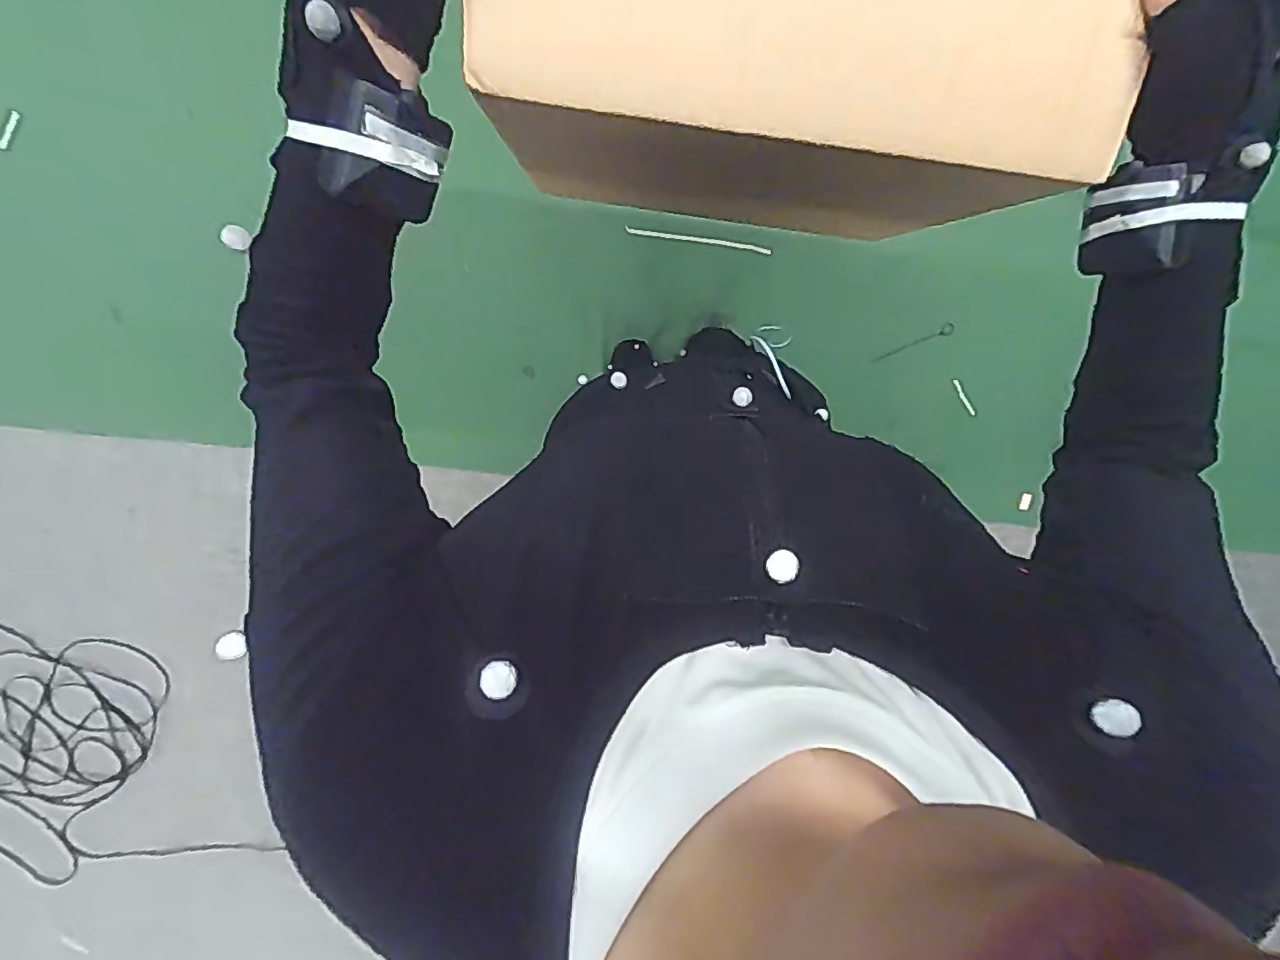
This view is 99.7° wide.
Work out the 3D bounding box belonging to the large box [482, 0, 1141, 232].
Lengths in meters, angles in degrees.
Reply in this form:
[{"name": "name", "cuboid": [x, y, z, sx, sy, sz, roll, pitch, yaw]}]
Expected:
[{"name": "large box", "cuboid": [0.105, -0.407, 0.442, 0.408, 0.320, 0.320, 5, 108, -4]}]
